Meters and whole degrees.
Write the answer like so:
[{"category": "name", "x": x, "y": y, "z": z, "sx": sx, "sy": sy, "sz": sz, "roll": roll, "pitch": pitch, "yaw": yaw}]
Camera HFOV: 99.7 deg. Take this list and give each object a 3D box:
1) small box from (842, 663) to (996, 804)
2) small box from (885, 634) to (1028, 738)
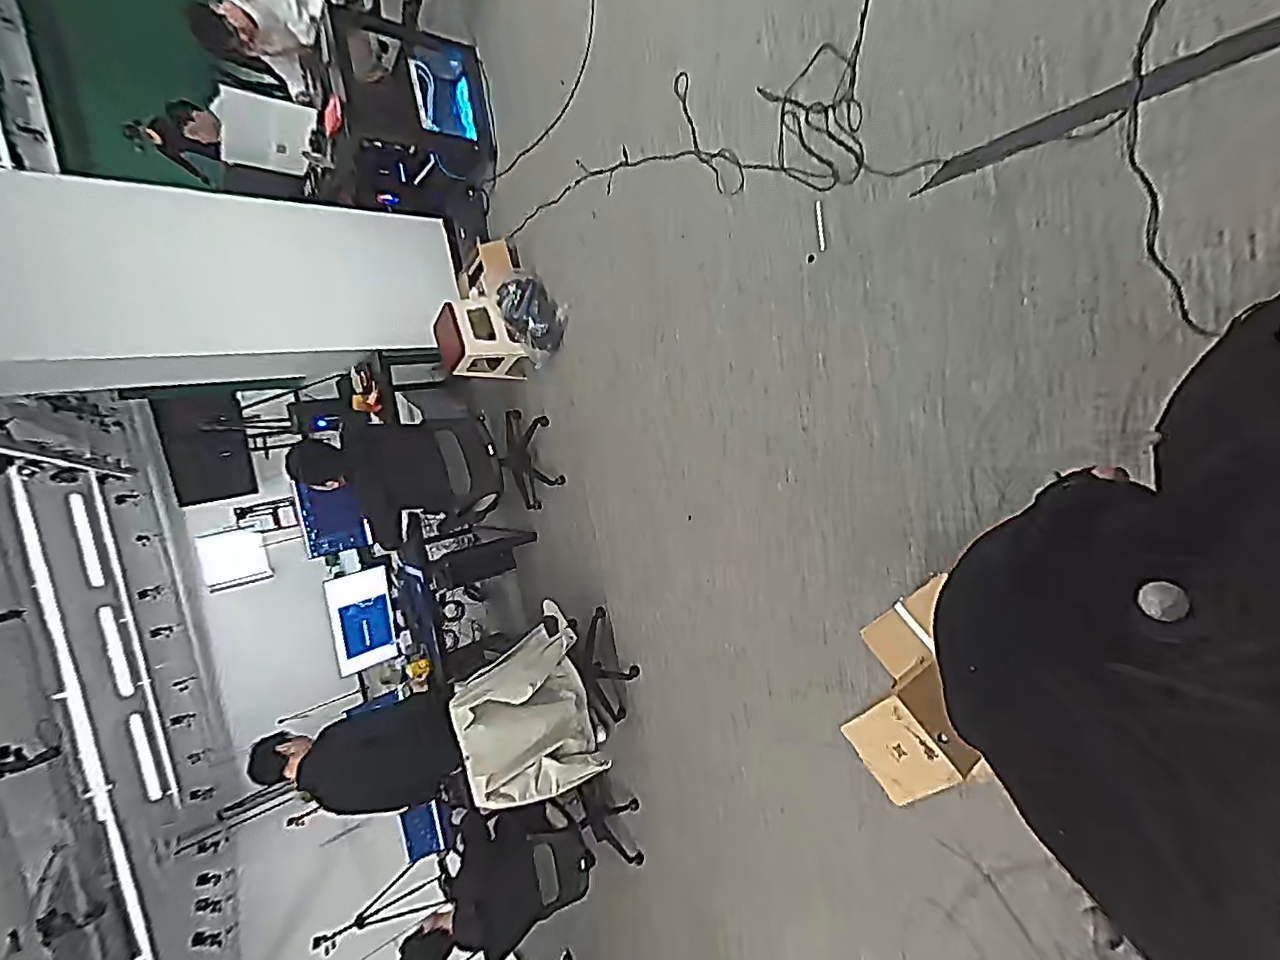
[{"category": "small box", "x": 0.544, "y": 0.490, "z": 1.055, "sx": 0.168, "sy": 0.176, "sz": 0.179, "roll": 54, "pitch": 138, "yaw": 27}, {"category": "small box", "x": 0.673, "y": 0.458, "z": 1.151, "sx": 0.168, "sy": 0.176, "sz": 0.179, "roll": 54, "pitch": 137, "yaw": 27}]
